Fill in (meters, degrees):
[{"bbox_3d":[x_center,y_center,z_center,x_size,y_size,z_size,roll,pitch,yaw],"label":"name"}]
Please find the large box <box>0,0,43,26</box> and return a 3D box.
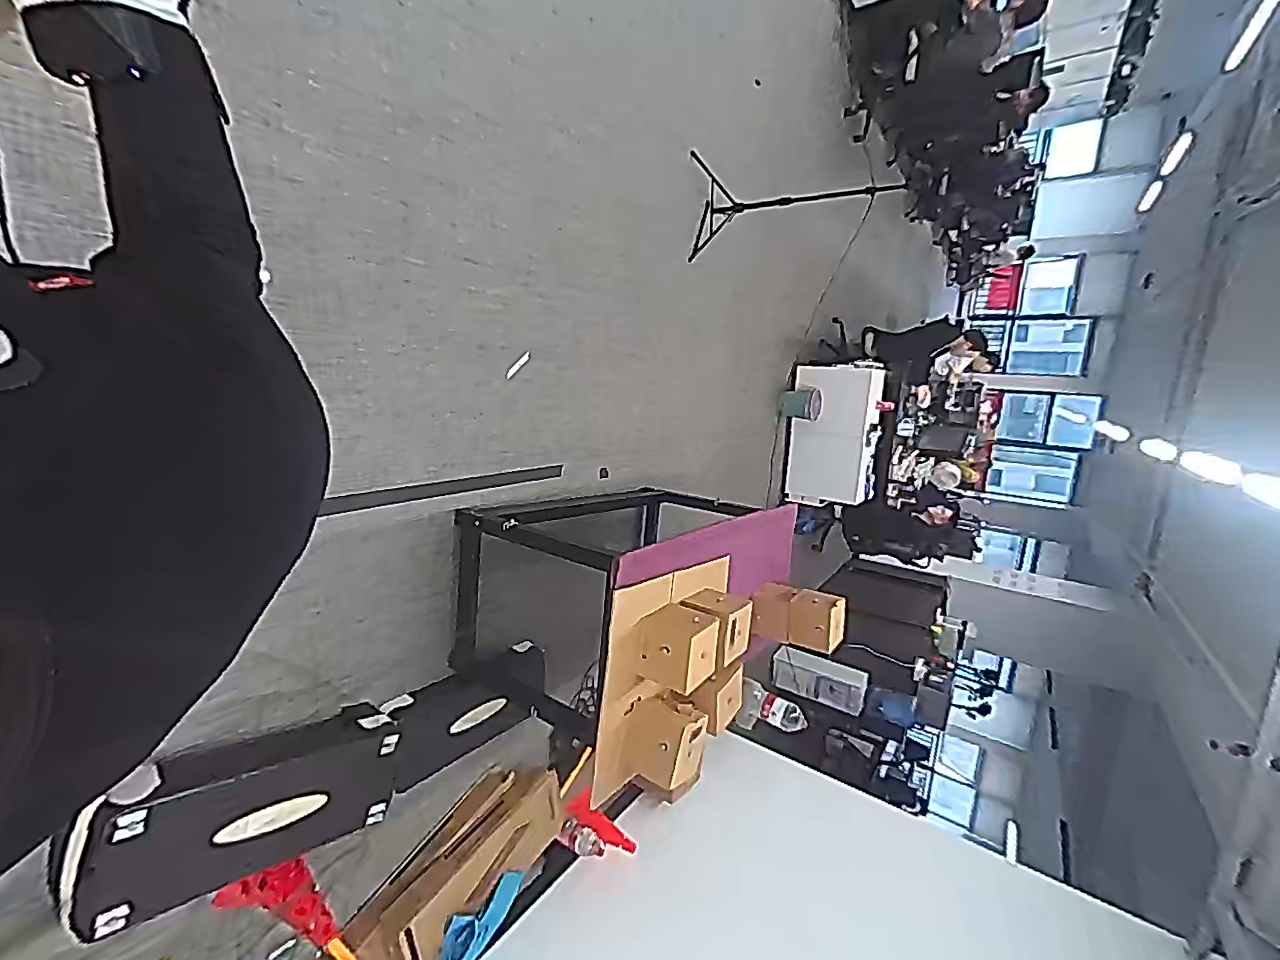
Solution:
[{"bbox_3d":[-0.570,-0.441,0.205,0.408,0.320,0.320,-23,128,-50],"label":"large box"}]
